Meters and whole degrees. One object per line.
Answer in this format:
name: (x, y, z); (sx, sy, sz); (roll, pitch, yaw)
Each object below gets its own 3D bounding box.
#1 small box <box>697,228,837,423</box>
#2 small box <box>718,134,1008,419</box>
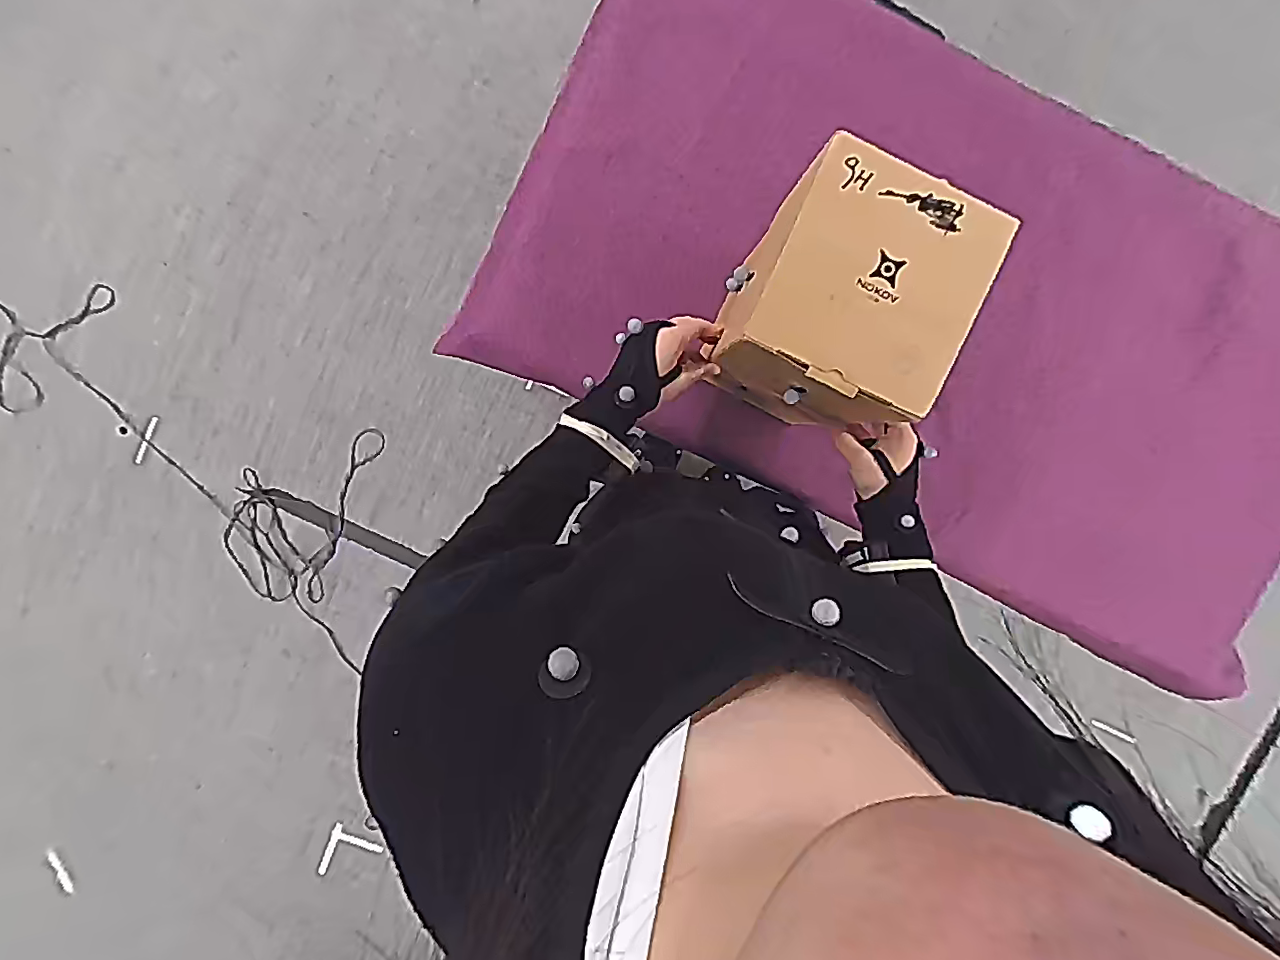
small box: (0.182, -0.182, 0.678); (0.168, 0.176, 0.179); (26, 94, -4)
small box: (0.186, -0.169, 0.515); (0.168, 0.176, 0.179); (24, 95, -4)
